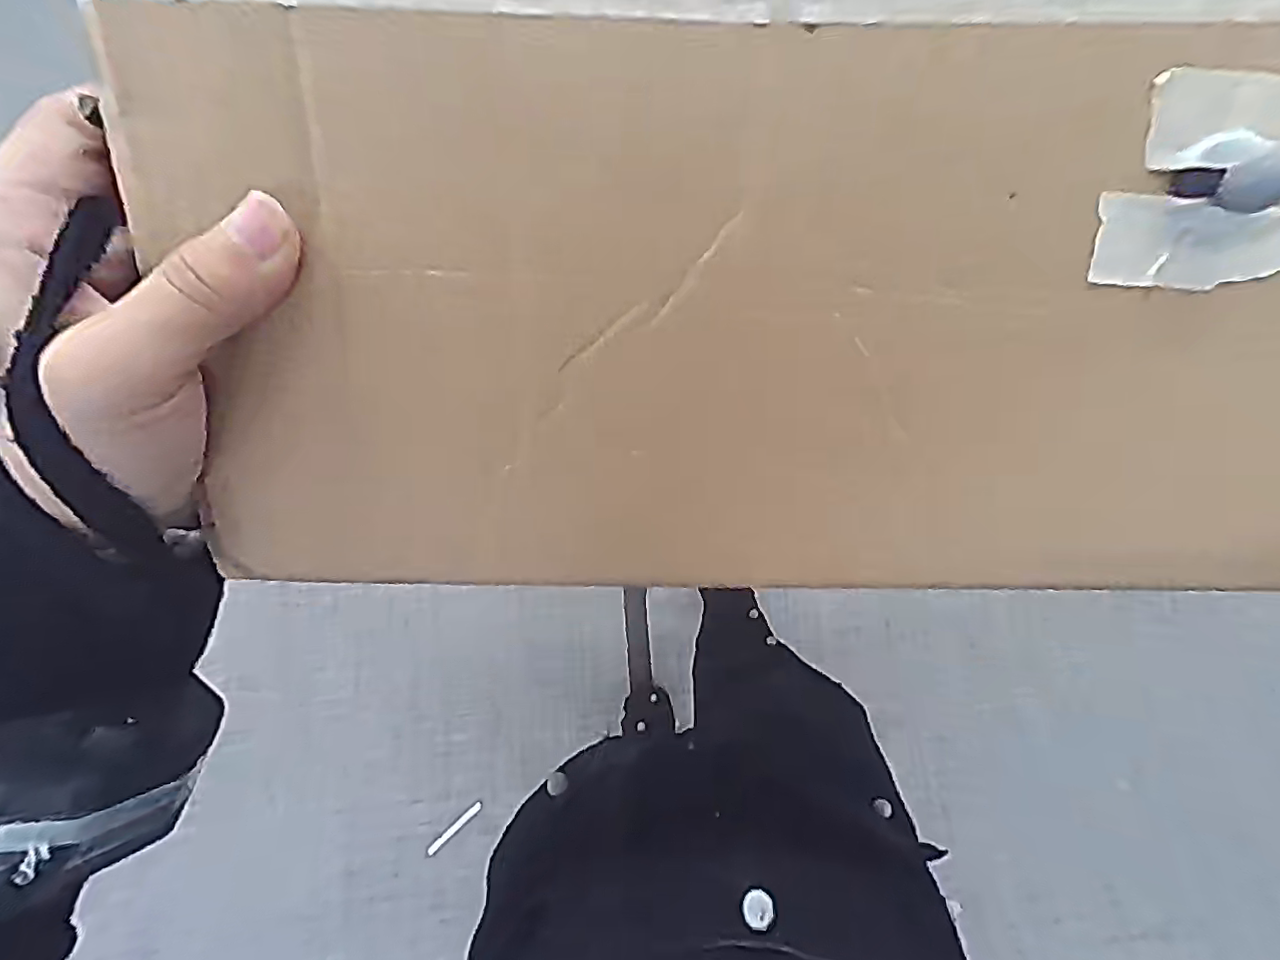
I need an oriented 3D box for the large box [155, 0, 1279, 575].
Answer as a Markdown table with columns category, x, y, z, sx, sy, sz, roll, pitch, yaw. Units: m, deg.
| category | x | y | z | sx | sy | sz | roll | pitch | yaw |
| --- | --- | --- | --- | --- | --- | --- | --- | --- | --- |
| large box | 0.071 | -0.160 | 0.283 | 0.408 | 0.320 | 0.320 | 0 | 107 | -2 |
